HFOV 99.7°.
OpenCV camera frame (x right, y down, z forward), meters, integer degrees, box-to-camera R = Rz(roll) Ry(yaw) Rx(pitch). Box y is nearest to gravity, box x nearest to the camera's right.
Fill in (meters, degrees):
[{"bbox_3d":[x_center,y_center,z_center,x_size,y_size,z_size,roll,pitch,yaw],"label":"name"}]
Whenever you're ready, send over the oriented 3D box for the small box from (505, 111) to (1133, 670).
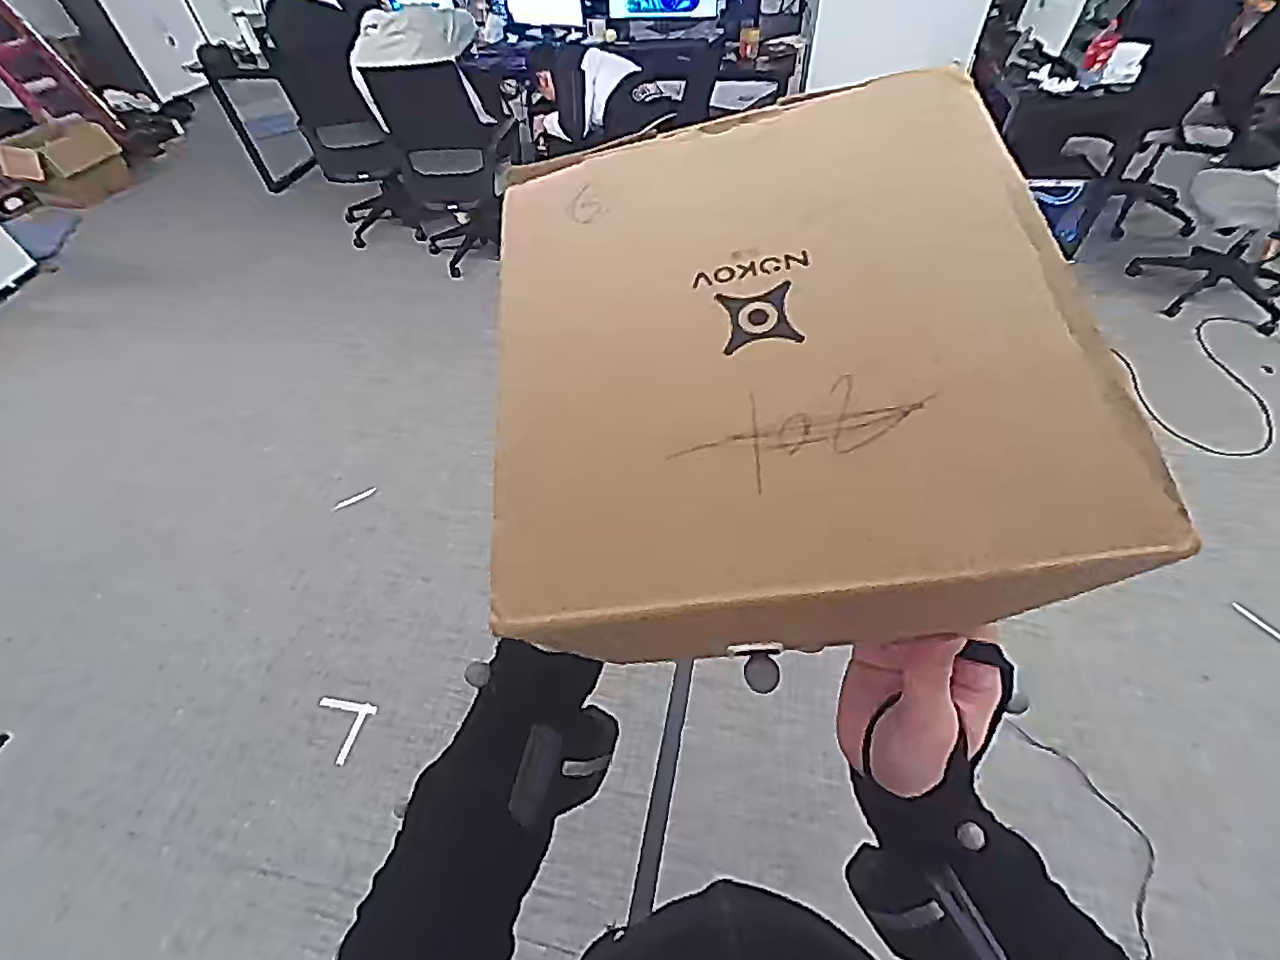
[{"bbox_3d":[0.051,-0.015,0.249,0.168,0.176,0.179,-10,67,10],"label":"small box"}]
